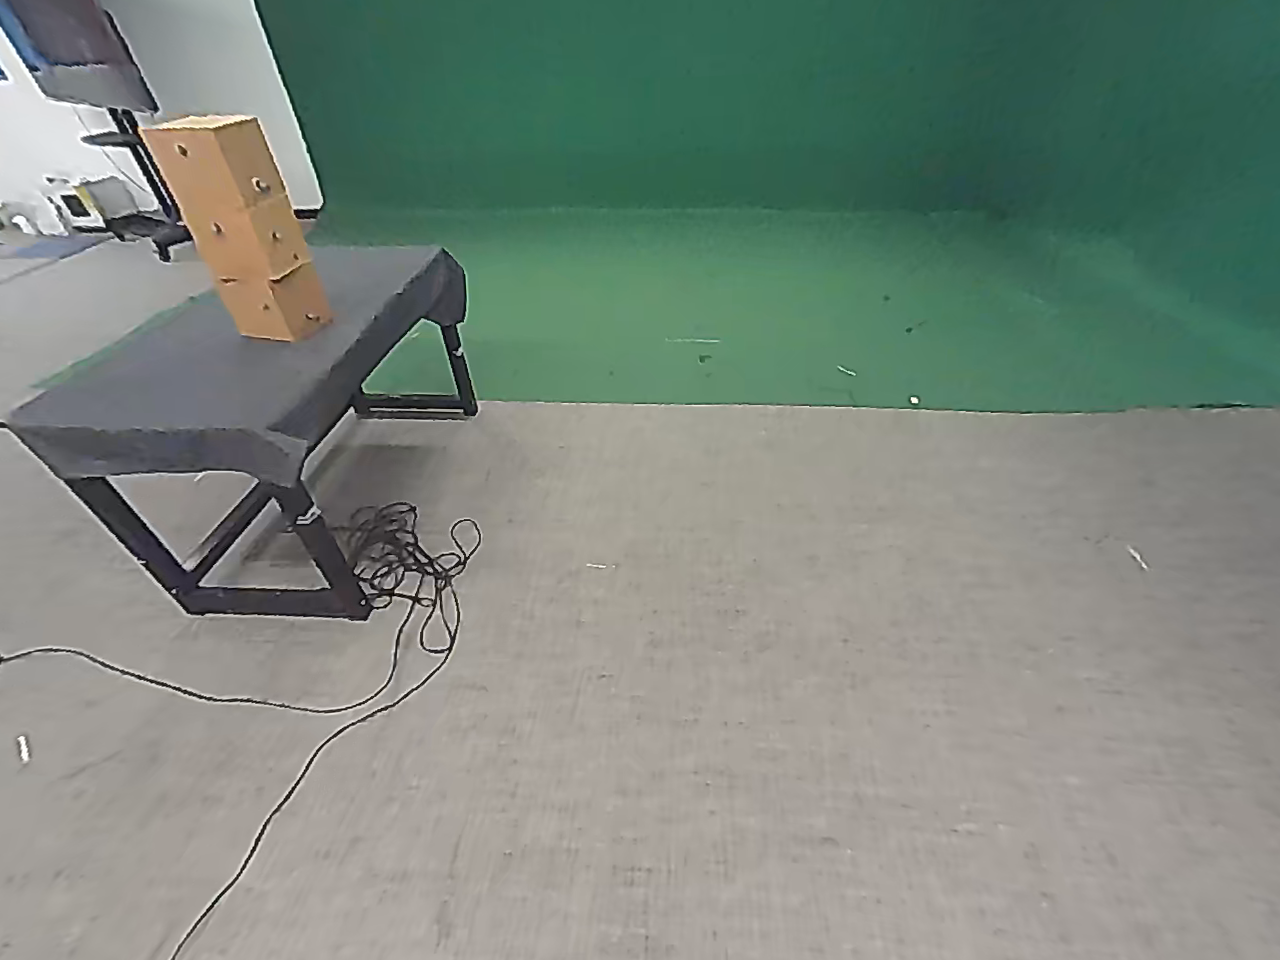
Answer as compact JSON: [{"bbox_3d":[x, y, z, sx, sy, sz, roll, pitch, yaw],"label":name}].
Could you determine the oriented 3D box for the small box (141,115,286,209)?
[{"bbox_3d":[-1.000,-0.754,1.286,0.179,0.176,0.168,2,42,3],"label":"small box"}]

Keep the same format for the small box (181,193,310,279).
[{"bbox_3d":[-0.995,-0.626,1.386,0.179,0.176,0.168,3,41,5],"label":"small box"}]
